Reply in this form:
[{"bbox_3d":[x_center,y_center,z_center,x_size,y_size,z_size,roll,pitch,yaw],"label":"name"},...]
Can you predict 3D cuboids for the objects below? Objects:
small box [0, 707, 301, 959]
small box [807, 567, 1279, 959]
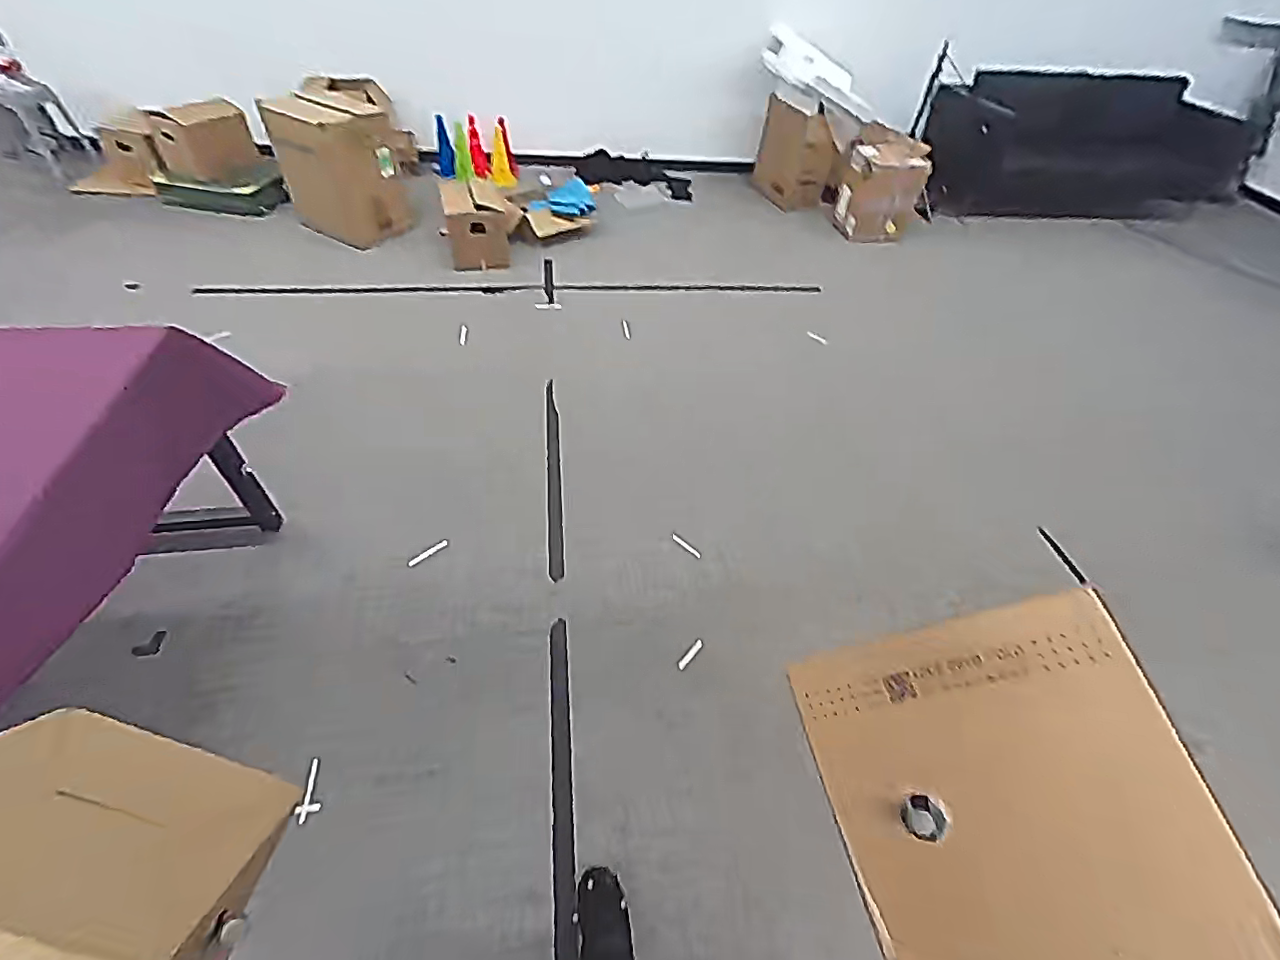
[{"bbox_3d":[-0.323,0.241,0.279,0.168,0.179,0.176,27,78,-9],"label":"small box"},{"bbox_3d":[0.223,0.158,0.335,0.168,0.179,0.176,-25,68,25],"label":"small box"}]
